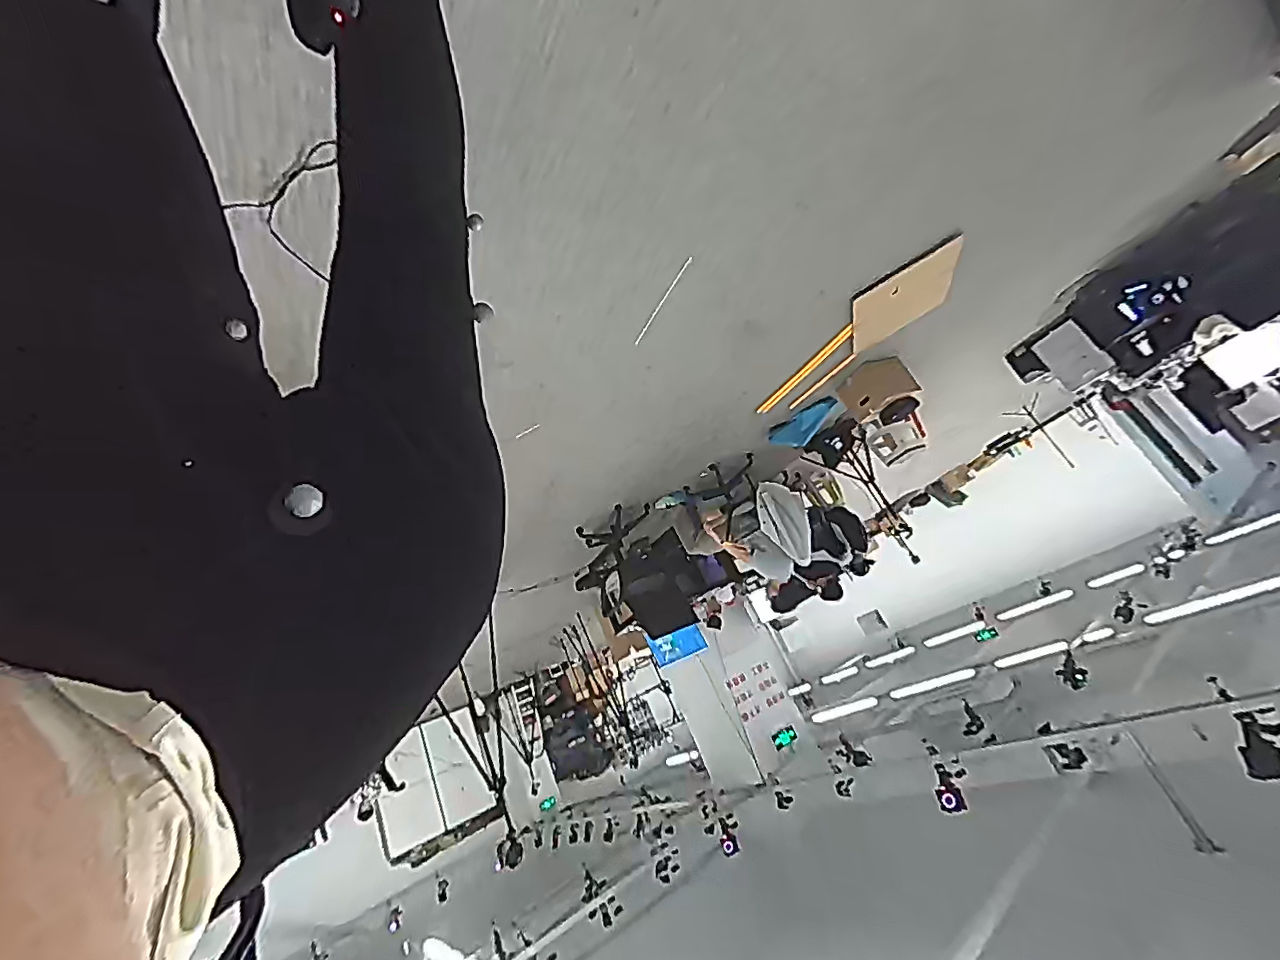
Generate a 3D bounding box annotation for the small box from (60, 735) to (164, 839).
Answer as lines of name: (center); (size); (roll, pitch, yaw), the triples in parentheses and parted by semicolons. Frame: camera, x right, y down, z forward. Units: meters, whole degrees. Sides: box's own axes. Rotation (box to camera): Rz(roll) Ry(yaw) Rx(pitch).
small box: (-1.329, 0.768, 1.366); (0.168, 0.176, 0.179); (-8, 152, -39)
